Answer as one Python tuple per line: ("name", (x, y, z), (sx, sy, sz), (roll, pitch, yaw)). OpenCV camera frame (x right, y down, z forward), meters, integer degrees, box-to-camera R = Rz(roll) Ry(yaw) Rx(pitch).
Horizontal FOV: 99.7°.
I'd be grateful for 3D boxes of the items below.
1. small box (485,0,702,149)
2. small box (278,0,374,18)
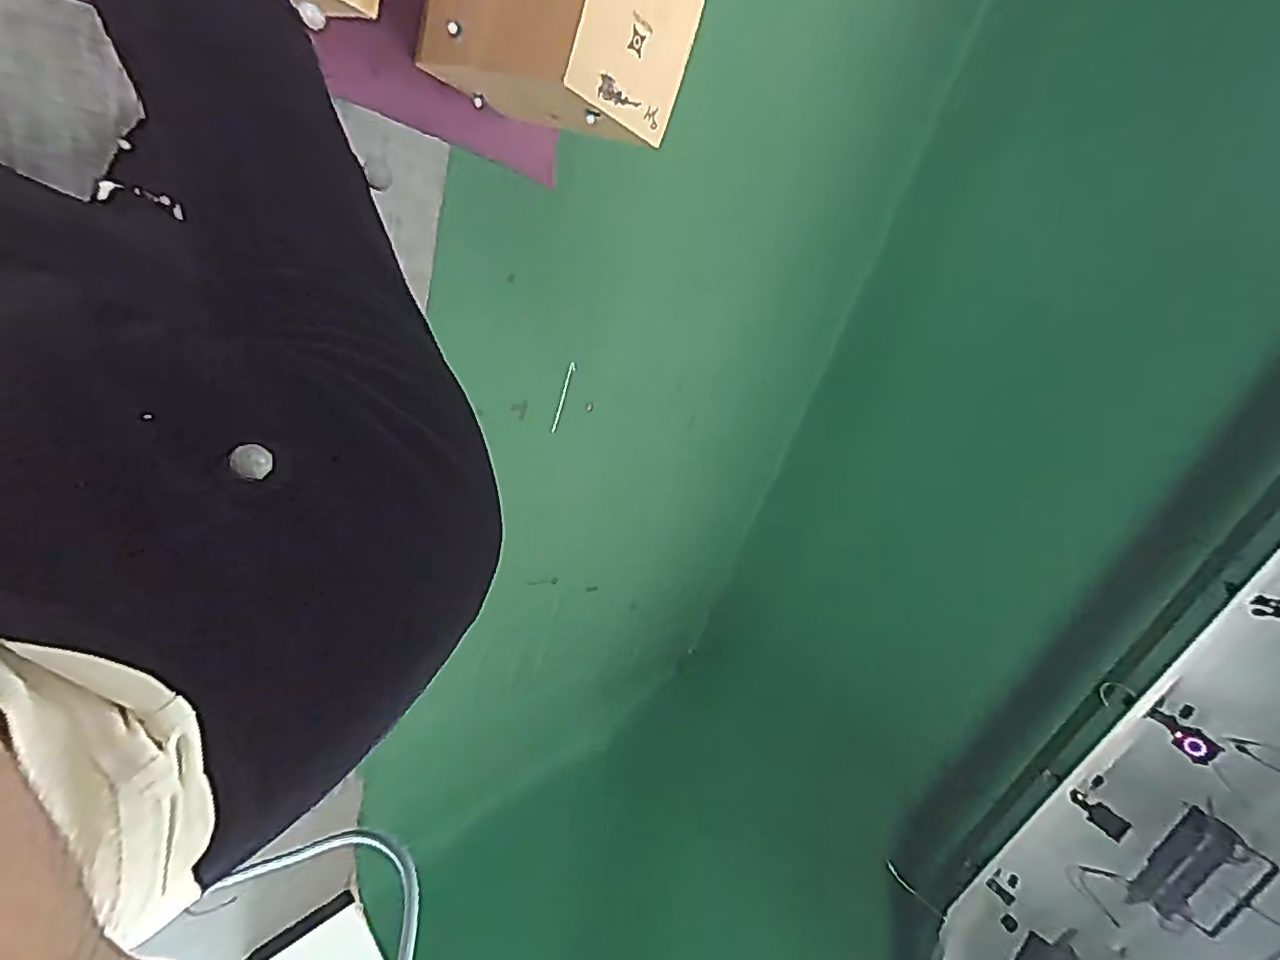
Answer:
("small box", (-0.059, -0.527, 0.637), (0.168, 0.176, 0.179), (-4, 120, -50))
("small box", (-0.359, -0.581, 0.512), (0.168, 0.176, 0.179), (-7, 122, -49))
